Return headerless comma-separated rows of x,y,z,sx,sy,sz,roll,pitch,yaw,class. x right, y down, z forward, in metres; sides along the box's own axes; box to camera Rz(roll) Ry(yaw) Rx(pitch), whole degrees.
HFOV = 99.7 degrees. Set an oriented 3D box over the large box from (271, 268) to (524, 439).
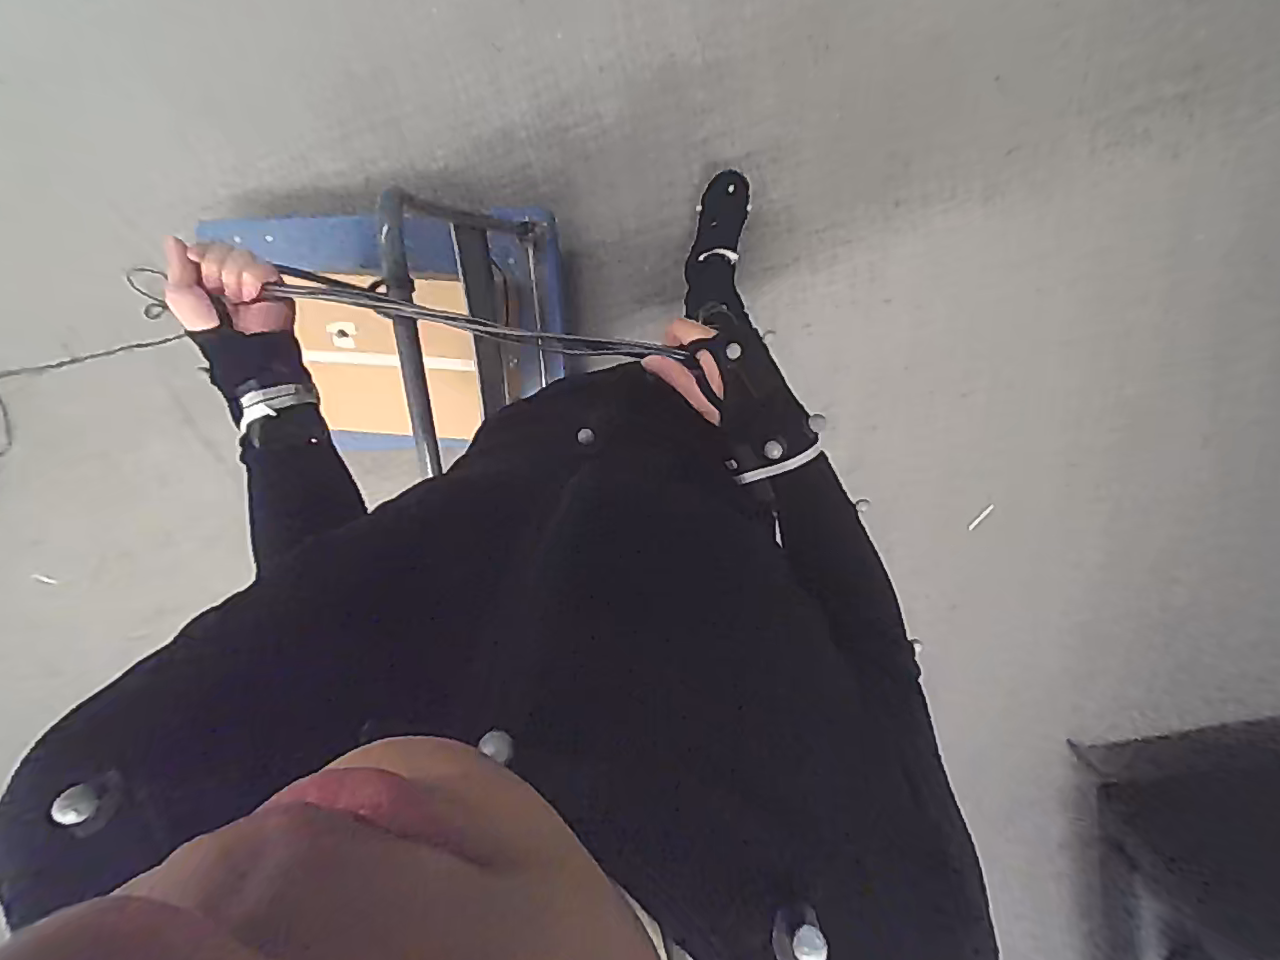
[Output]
-0.496,-0.296,1.204,0.408,0.320,0.320,5,112,2,large box
